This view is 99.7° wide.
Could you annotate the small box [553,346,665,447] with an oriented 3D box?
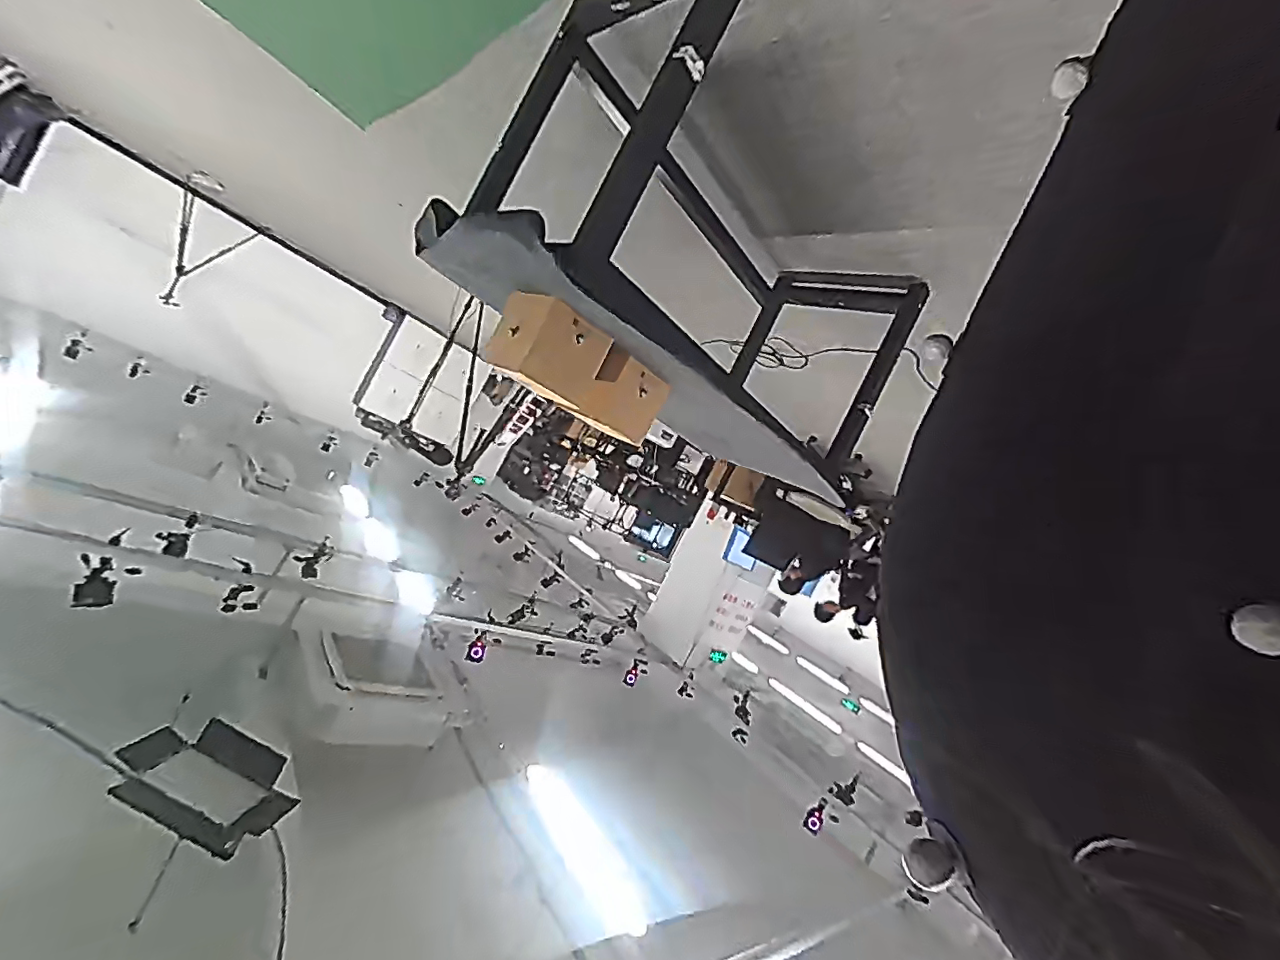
[{"bbox_3d":[-0.071,-0.206,1.304,0.179,0.176,0.168,25,179,41],"label":"small box"}]
